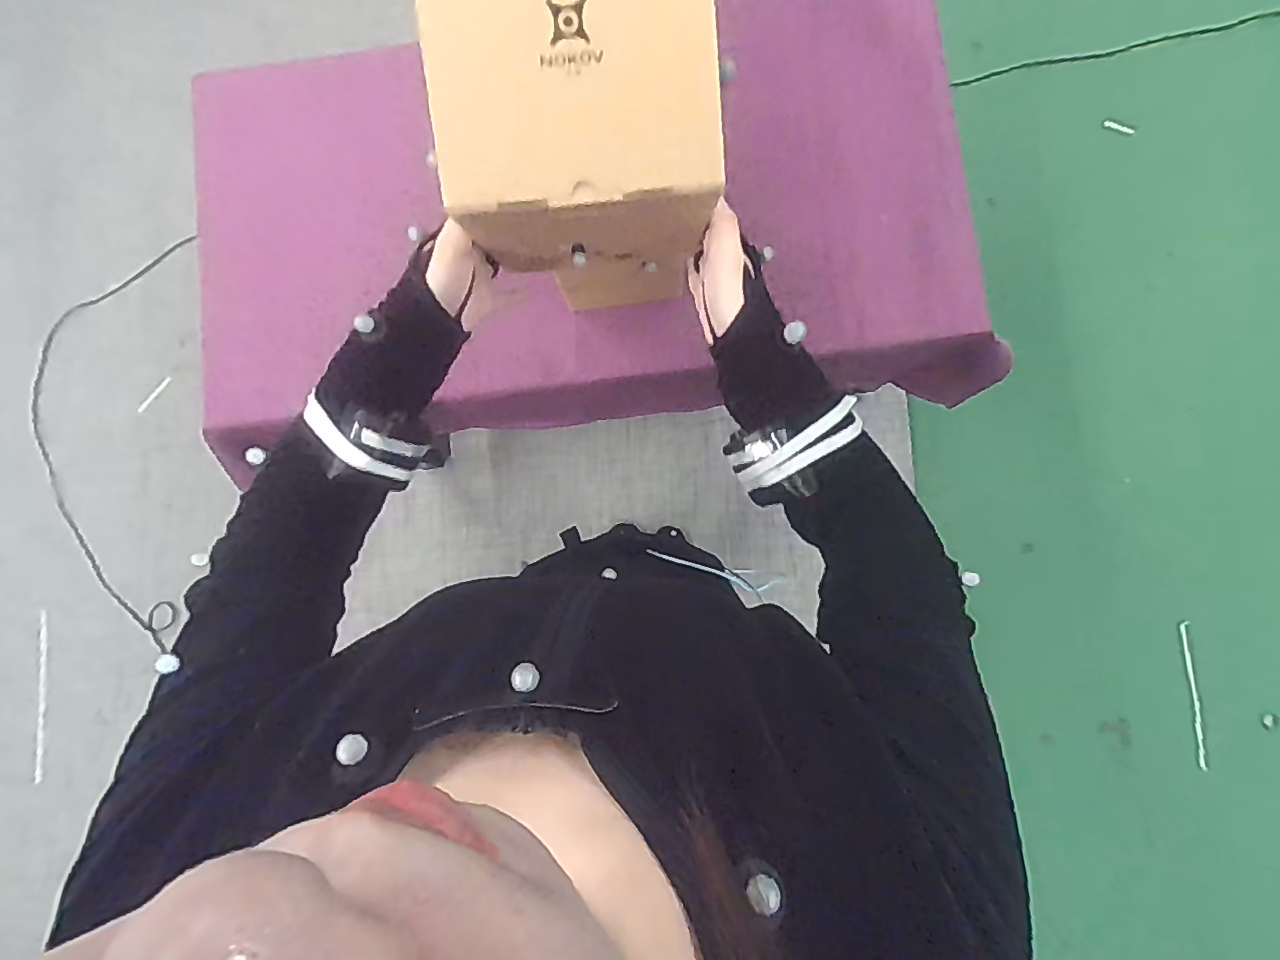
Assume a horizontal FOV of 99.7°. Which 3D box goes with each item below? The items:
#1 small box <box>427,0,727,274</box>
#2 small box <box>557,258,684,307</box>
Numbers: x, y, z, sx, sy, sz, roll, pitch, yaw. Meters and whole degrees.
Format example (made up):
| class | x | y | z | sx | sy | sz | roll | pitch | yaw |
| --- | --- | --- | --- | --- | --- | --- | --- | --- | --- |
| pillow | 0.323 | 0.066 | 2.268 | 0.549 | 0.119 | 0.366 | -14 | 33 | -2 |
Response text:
| class | x | y | z | sx | sy | sz | roll | pitch | yaw |
| --- | --- | --- | --- | --- | --- | --- | --- | --- | --- |
| small box | -0.038 | -0.258 | 0.382 | 0.168 | 0.176 | 0.179 | -5 | 101 | 0 |
| small box | -0.031 | -0.360 | 0.757 | 0.179 | 0.176 | 0.168 | -7 | 84 | 2 |
